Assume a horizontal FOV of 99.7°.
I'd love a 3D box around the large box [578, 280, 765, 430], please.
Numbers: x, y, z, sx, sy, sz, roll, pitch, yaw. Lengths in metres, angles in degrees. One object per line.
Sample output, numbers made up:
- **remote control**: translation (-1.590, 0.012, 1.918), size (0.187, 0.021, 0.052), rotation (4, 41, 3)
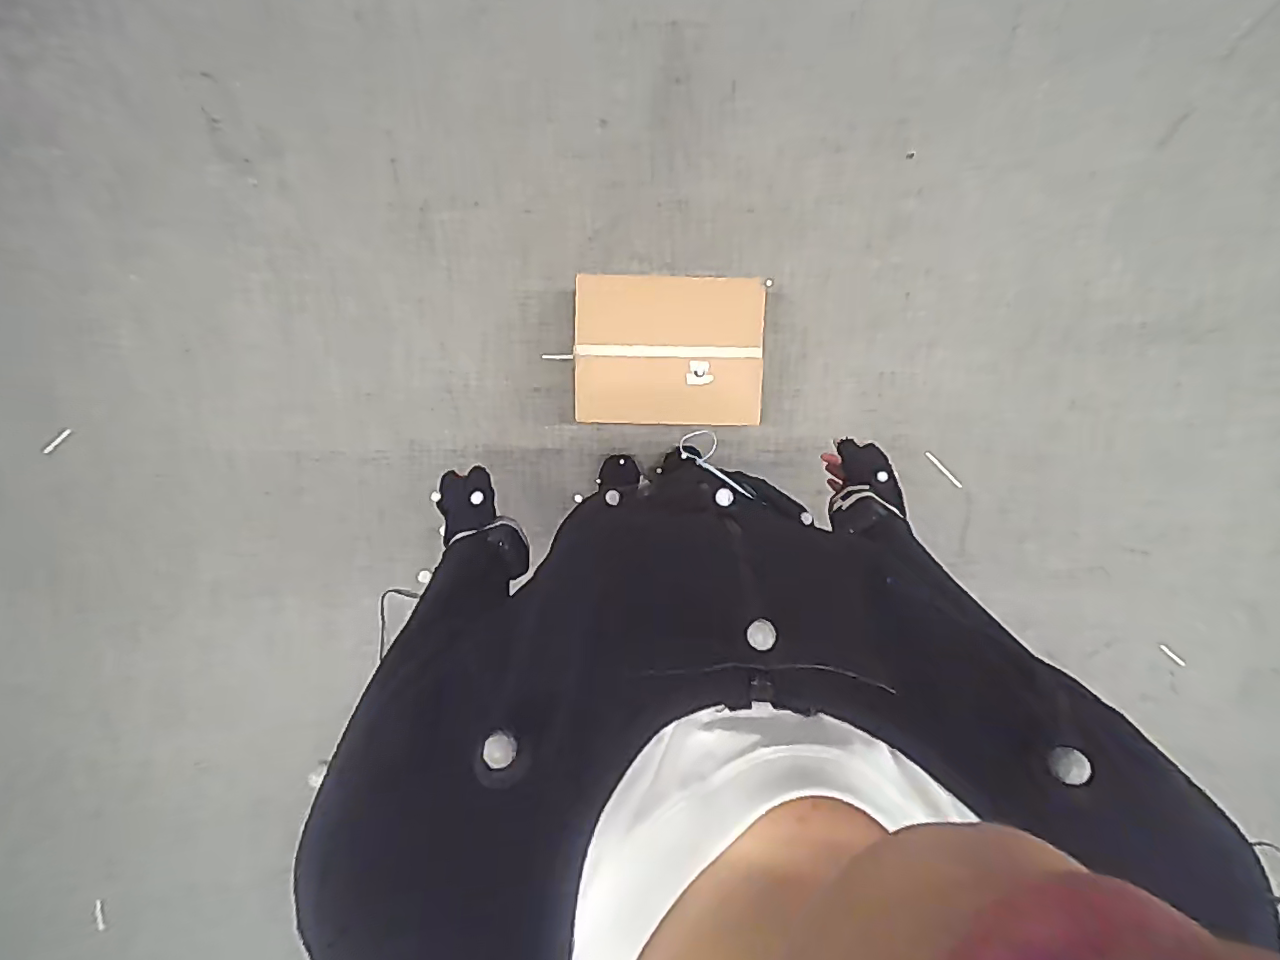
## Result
- **large box**: translation (0.063, -0.279, 1.305), size (0.408, 0.320, 0.320), rotation (1, 96, -1)
